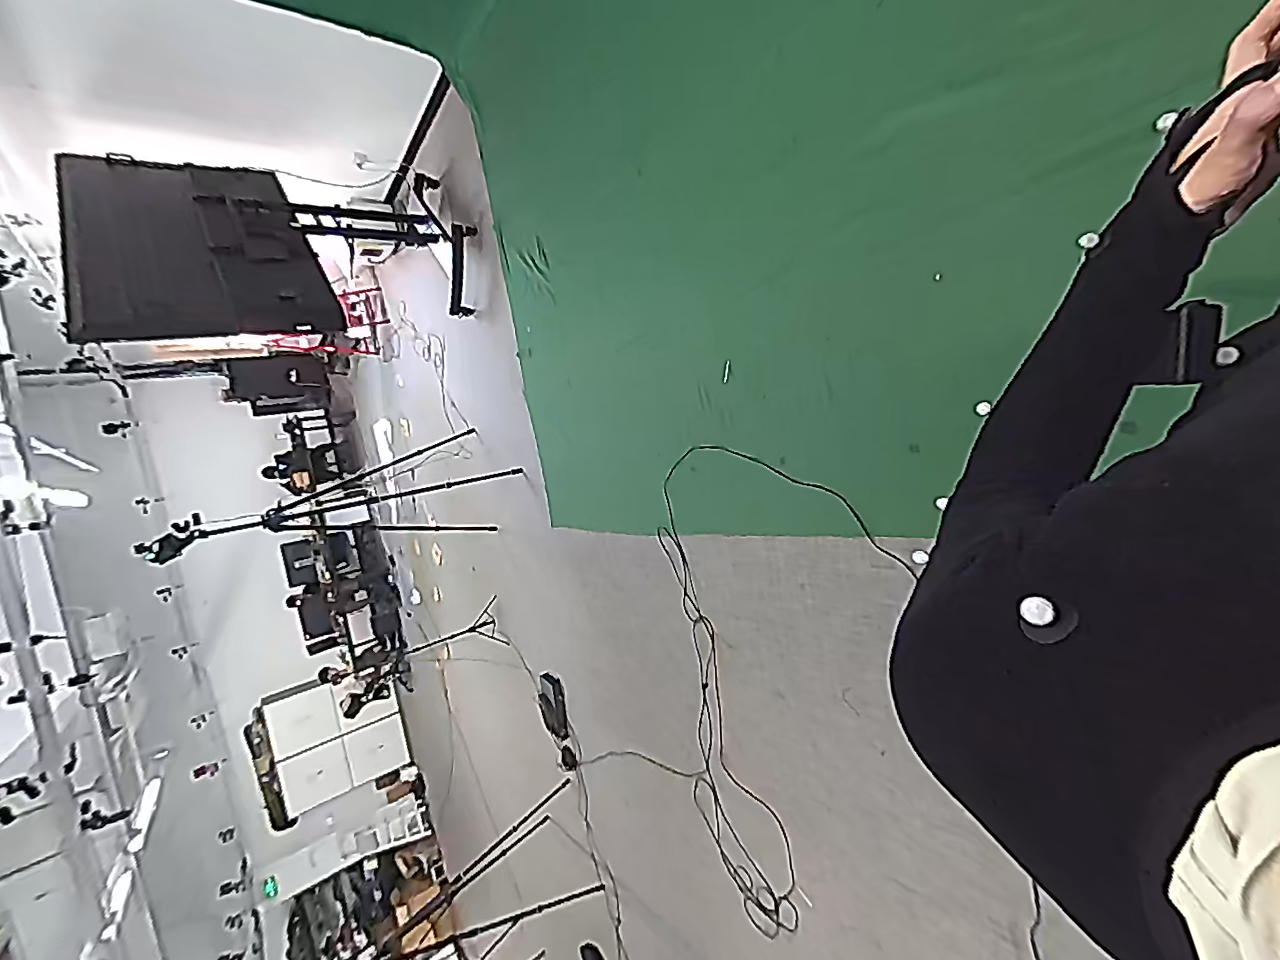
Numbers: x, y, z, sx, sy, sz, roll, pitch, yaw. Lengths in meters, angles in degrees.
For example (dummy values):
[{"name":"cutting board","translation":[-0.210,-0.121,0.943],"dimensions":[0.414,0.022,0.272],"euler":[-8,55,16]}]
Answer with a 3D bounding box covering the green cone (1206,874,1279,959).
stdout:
[{"name":"green cone","translation":[1.321,1.074,1.145],"dimensions":[0.202,0.368,0.200],"euler":[-3,98,53]}]
